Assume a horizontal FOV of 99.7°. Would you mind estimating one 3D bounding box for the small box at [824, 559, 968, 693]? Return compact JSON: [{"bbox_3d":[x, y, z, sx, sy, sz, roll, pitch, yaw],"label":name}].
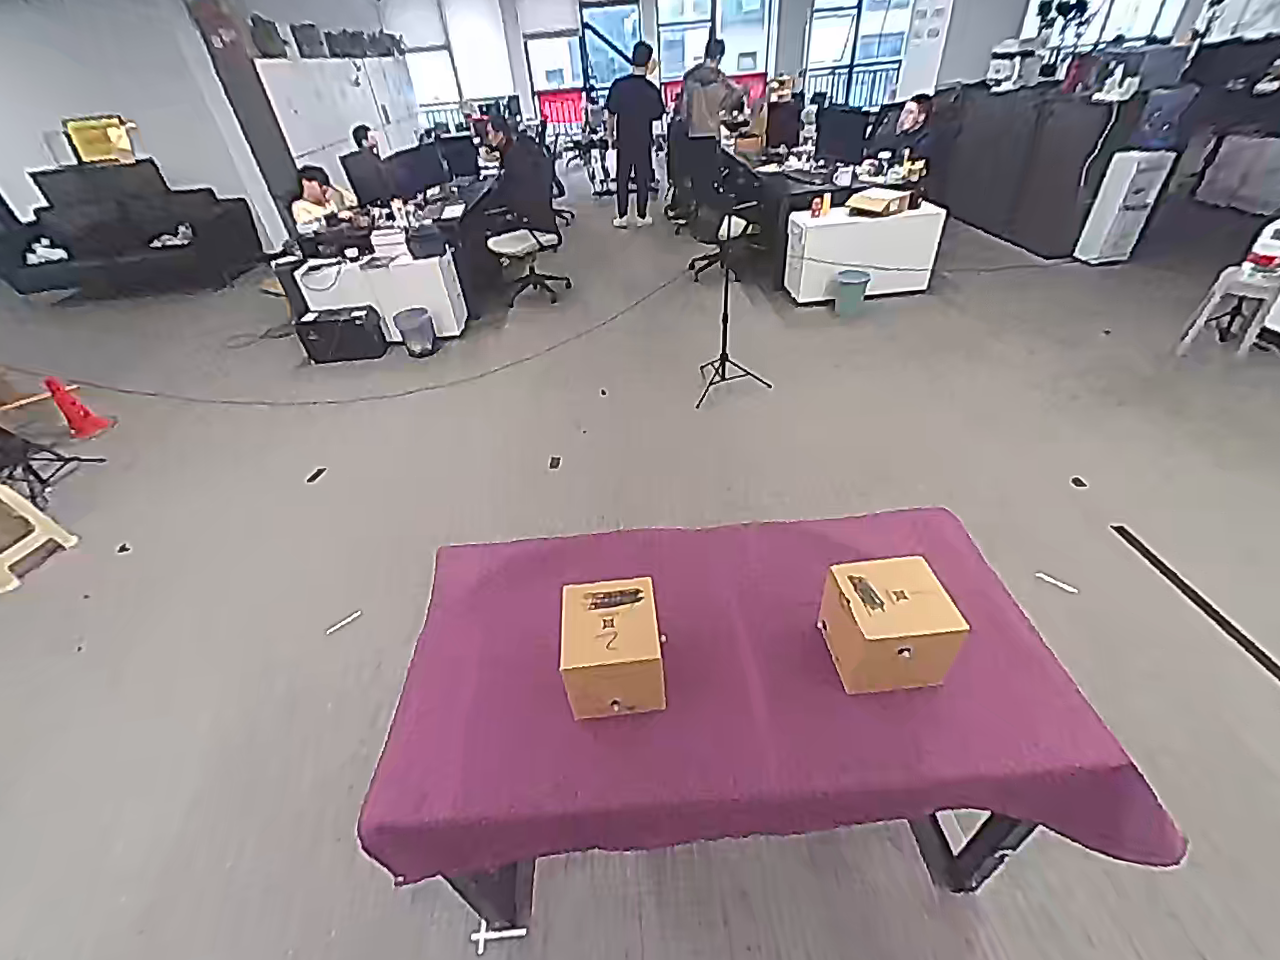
[{"bbox_3d":[0.445,0.267,0.979,0.179,0.176,0.168,-5,38,-1],"label":"small box"}]
